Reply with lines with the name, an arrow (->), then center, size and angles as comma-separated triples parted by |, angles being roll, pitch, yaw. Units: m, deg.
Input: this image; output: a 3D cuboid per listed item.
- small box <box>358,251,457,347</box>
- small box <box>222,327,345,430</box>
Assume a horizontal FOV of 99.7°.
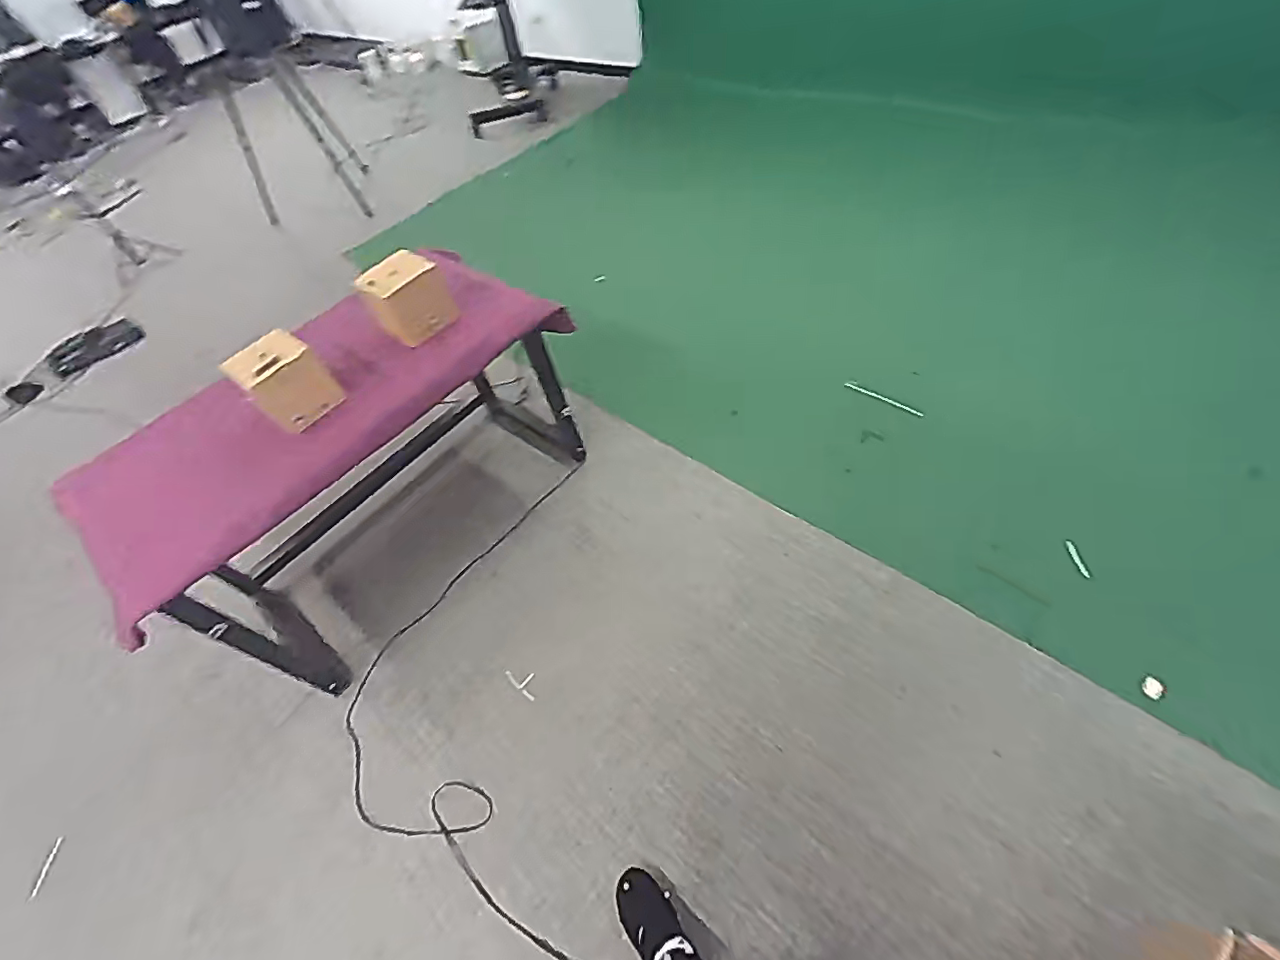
small box -> -0.644, -0.510, 1.528 | 0.168, 0.176, 0.179 | 32, 64, 29
small box -> -0.897, -0.253, 1.376 | 0.179, 0.176, 0.168 | 30, 63, 29
